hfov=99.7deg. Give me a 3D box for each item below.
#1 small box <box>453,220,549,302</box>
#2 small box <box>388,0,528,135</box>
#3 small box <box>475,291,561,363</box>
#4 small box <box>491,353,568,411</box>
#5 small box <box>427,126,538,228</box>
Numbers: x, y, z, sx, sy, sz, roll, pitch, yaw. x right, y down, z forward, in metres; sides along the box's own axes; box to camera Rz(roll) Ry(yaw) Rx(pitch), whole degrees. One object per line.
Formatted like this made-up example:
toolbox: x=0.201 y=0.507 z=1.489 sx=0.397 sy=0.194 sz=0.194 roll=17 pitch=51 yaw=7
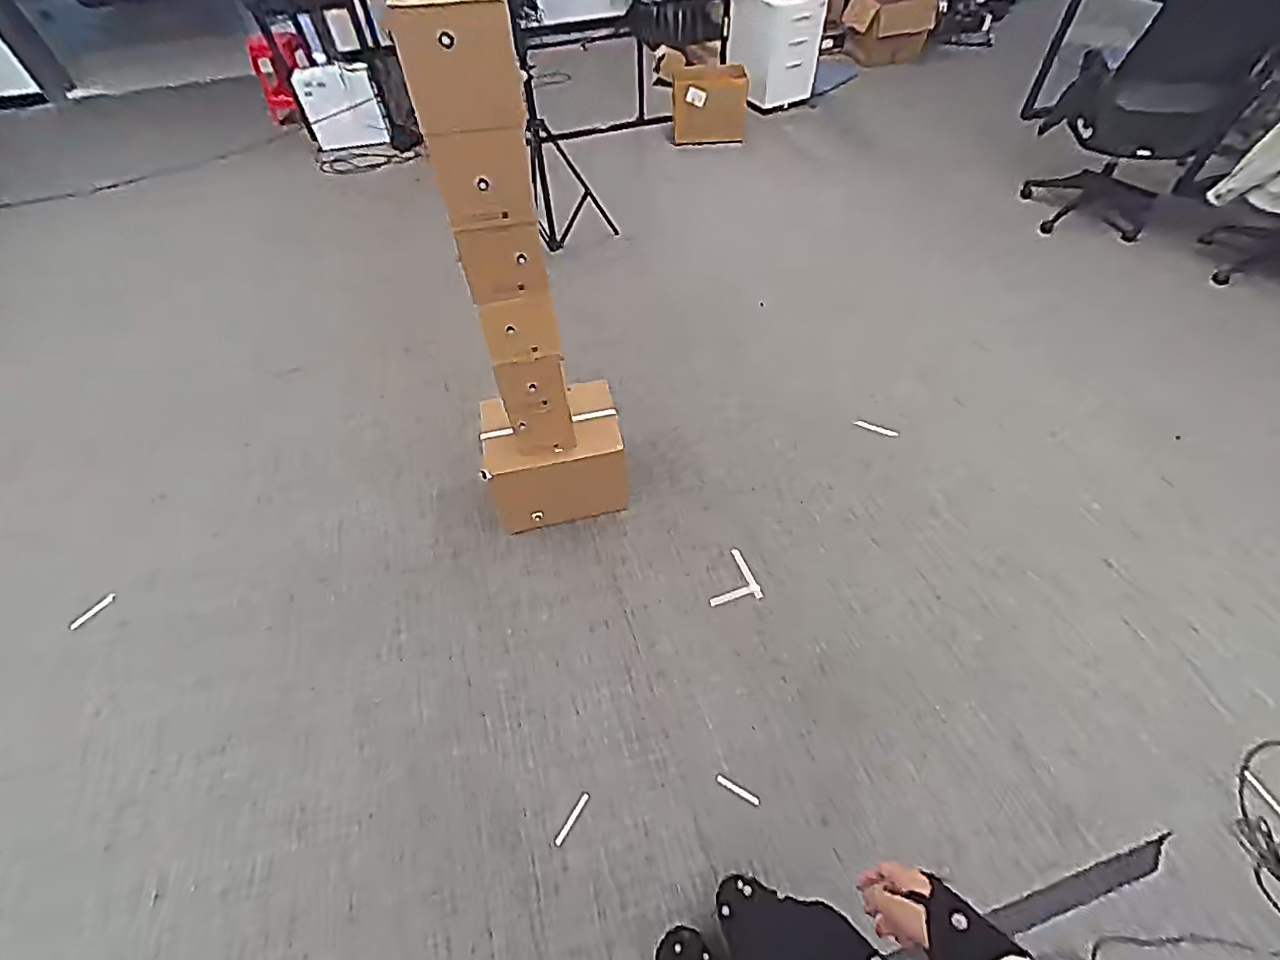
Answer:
small box: x=-0.298 y=-0.500 z=1.165 sx=0.168 sy=0.176 sz=0.179 roll=-13 pitch=51 yaw=-9
small box: x=-0.295 y=-0.696 z=0.900 sx=0.179 sy=0.176 sz=0.168 roll=-11 pitch=52 yaw=-8
small box: x=-0.291 y=-0.397 z=1.290 sx=0.168 sy=0.176 sz=0.179 roll=-13 pitch=52 yaw=-8
small box: x=-0.290 y=-0.299 z=1.420 sx=0.168 sy=0.176 sz=0.179 roll=-11 pitch=53 yaw=-6
small box: x=-0.296 y=-0.598 z=1.032 sx=0.168 sy=0.176 sz=0.179 roll=-11 pitch=52 yaw=-8
